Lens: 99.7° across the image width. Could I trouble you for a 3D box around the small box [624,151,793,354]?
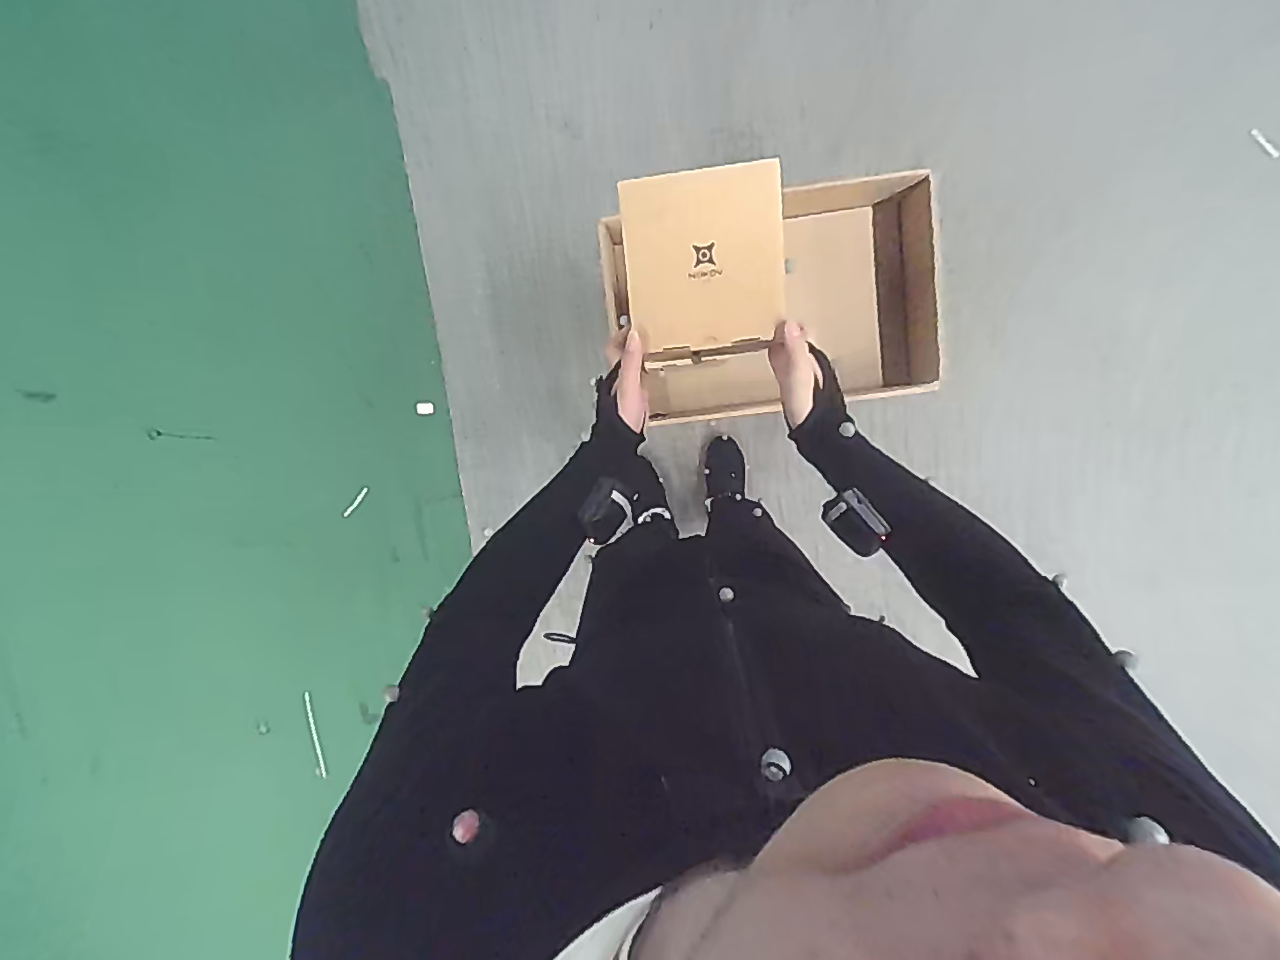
[{"bbox_3d":[0.075,-0.245,0.627,0.168,0.176,0.179,-5,101,5],"label":"small box"}]
